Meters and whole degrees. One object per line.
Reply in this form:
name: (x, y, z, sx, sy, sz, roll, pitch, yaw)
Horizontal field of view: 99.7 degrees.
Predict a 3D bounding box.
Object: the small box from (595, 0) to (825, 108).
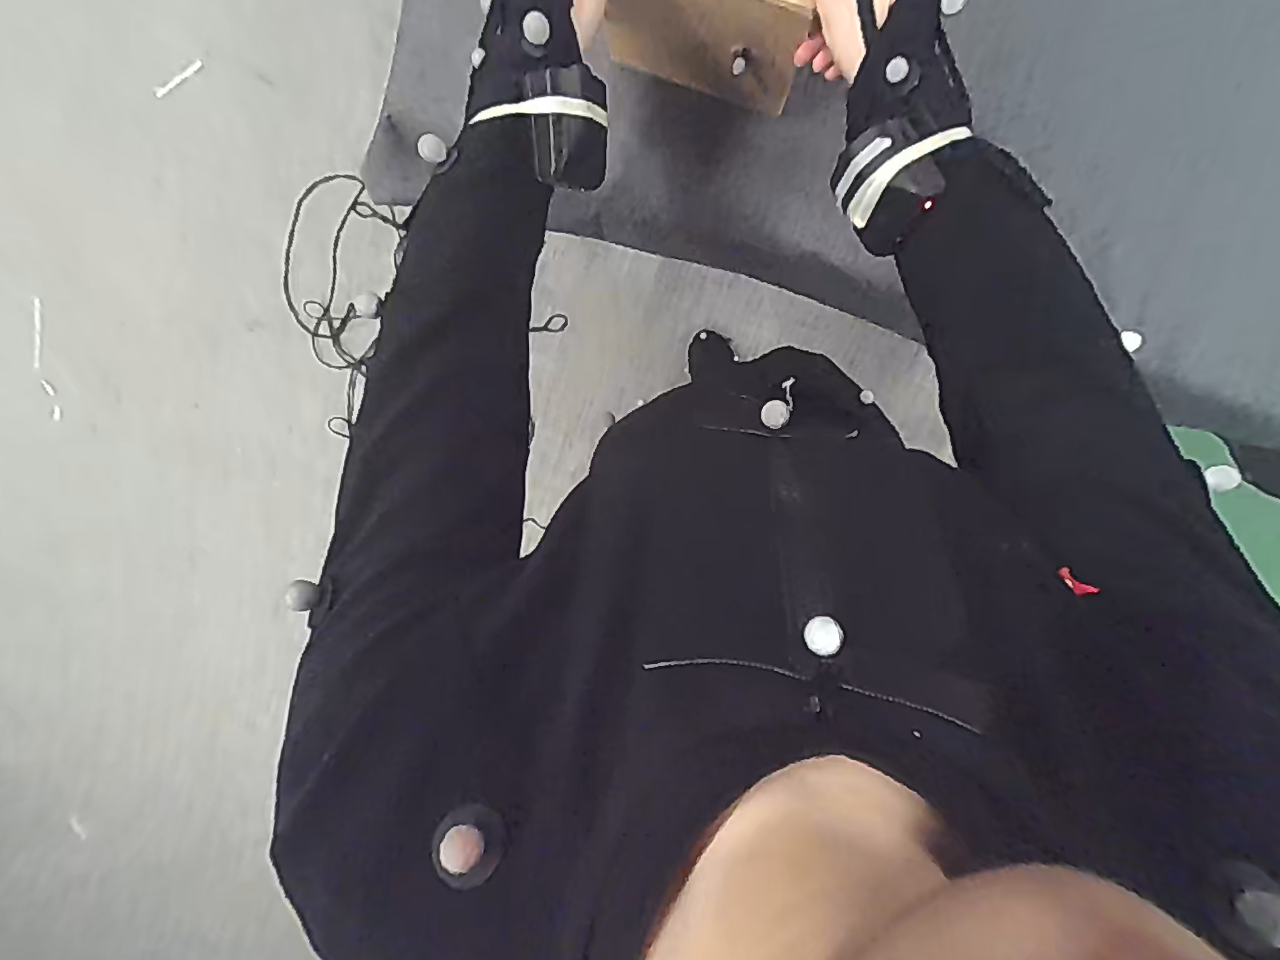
small box: (0.070, -0.435, 0.429, 0.179, 0.176, 0.168, 18, 103, 1)
